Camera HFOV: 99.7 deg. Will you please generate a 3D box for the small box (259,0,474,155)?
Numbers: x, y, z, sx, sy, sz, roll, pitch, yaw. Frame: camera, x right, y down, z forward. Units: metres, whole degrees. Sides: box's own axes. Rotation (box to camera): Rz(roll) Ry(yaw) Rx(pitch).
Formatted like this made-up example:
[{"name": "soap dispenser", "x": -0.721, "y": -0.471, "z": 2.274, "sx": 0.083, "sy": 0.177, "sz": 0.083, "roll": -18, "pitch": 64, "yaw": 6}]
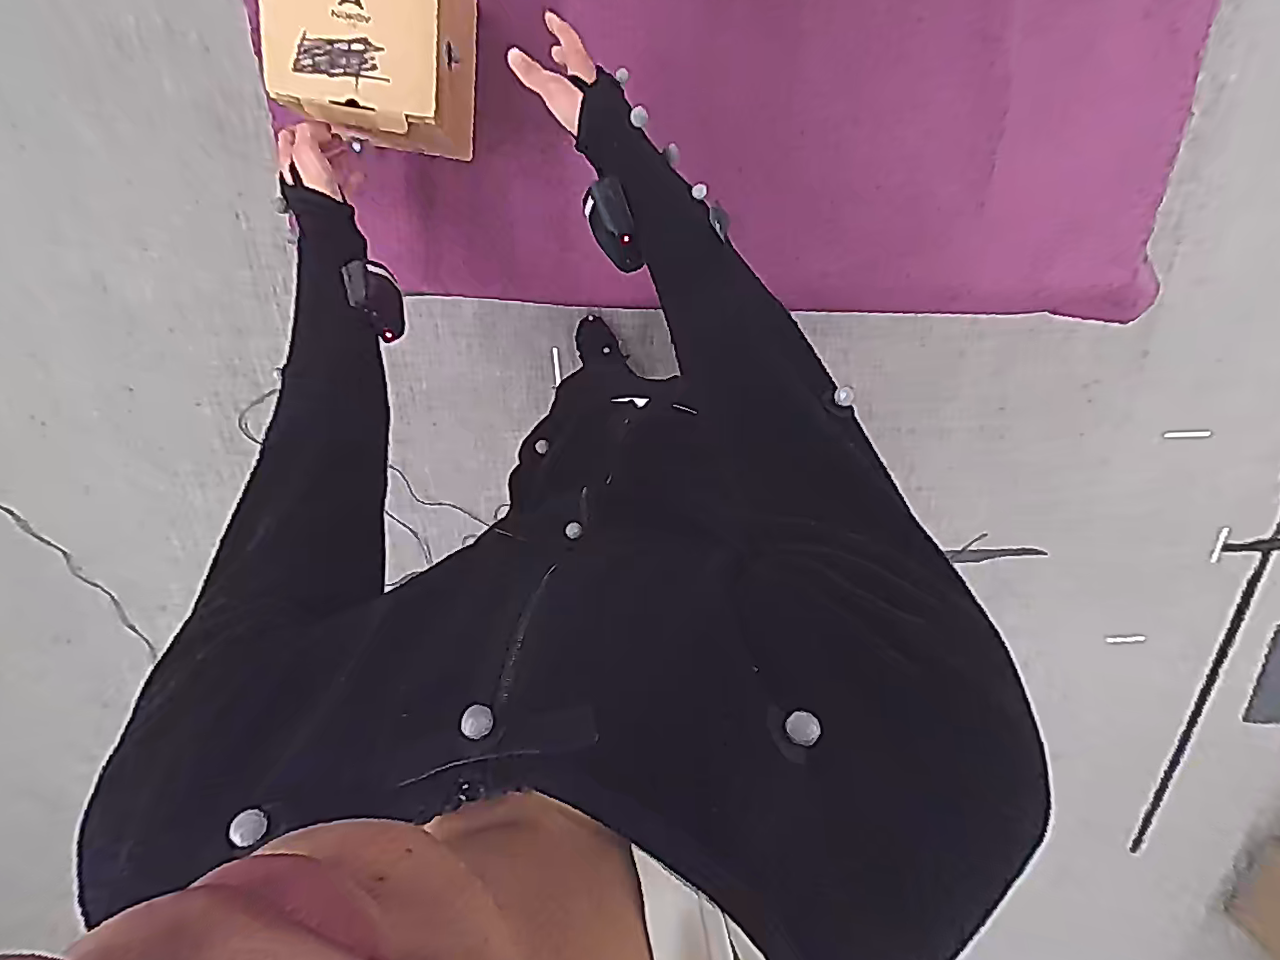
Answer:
[{"name": "small box", "x": -0.284, "y": -0.480, "z": 0.593, "sx": 0.168, "sy": 0.176, "sz": 0.179, "roll": 6, "pitch": 108, "yaw": -6}]
